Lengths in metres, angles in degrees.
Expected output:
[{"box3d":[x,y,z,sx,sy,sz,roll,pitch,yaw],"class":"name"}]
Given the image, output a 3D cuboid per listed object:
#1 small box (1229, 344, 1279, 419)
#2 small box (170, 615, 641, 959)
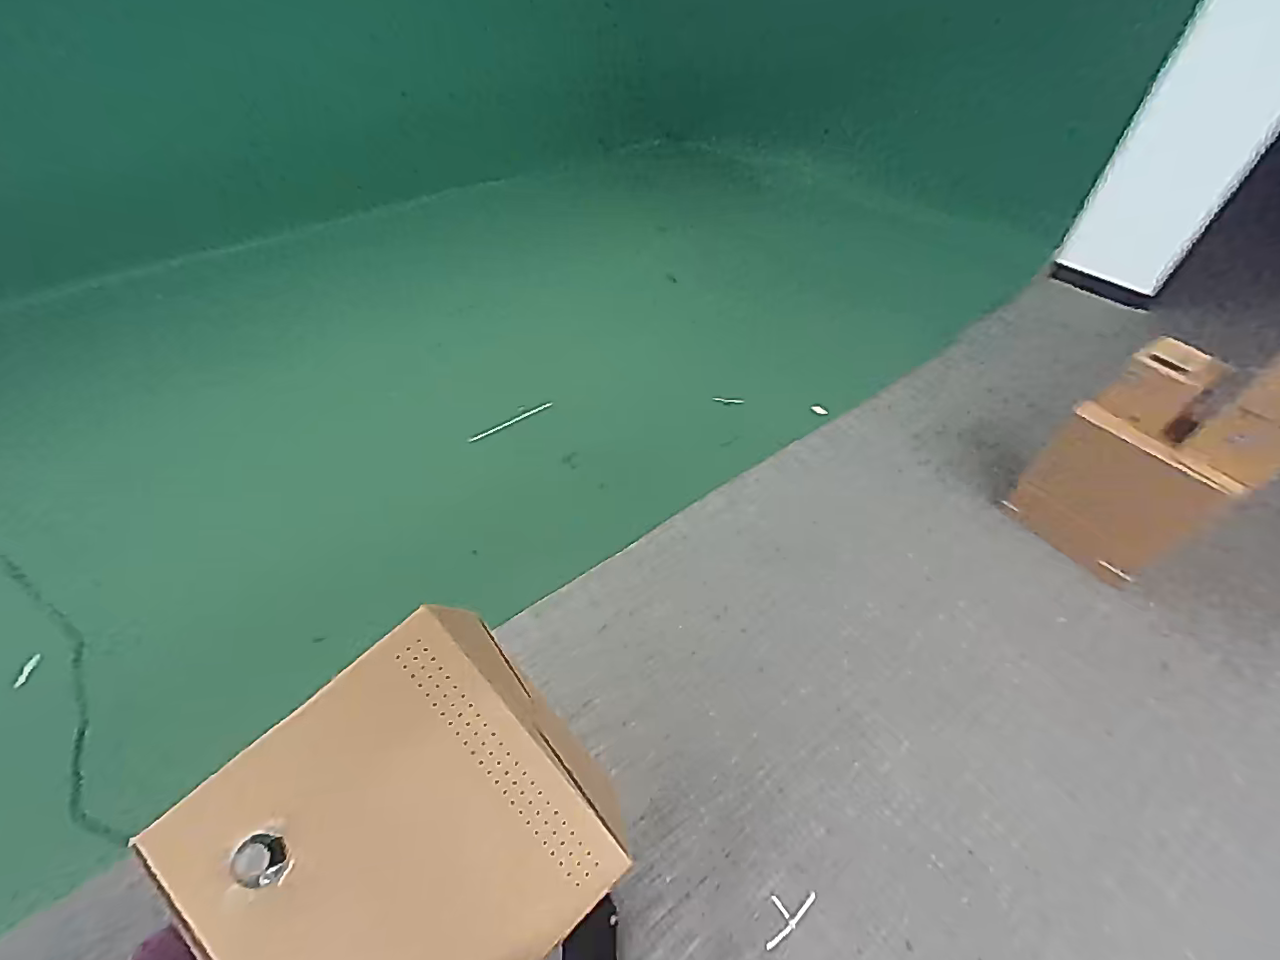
[{"box3d":[1.528,-0.238,1.223,0.168,0.176,0.179,-29,53,-21],"class":"small box"},{"box3d":[-0.125,0.203,0.350,0.176,0.168,0.179,-40,83,-15],"class":"small box"}]
